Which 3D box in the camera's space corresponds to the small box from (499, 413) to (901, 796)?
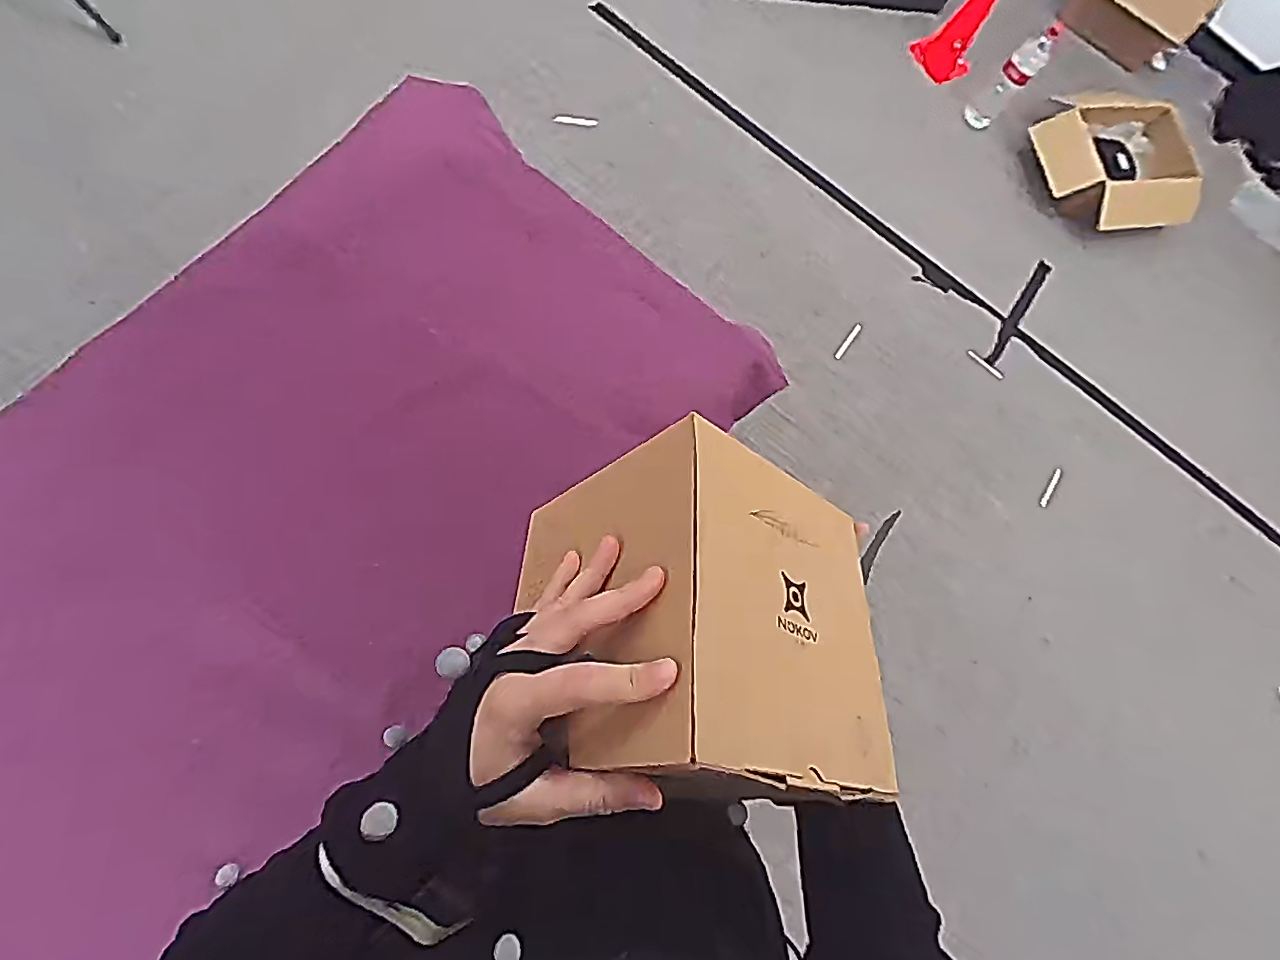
[{"bbox_3d":[0.030,0.096,0.345,0.168,0.176,0.179,28,49,-34],"label":"small box"}]
